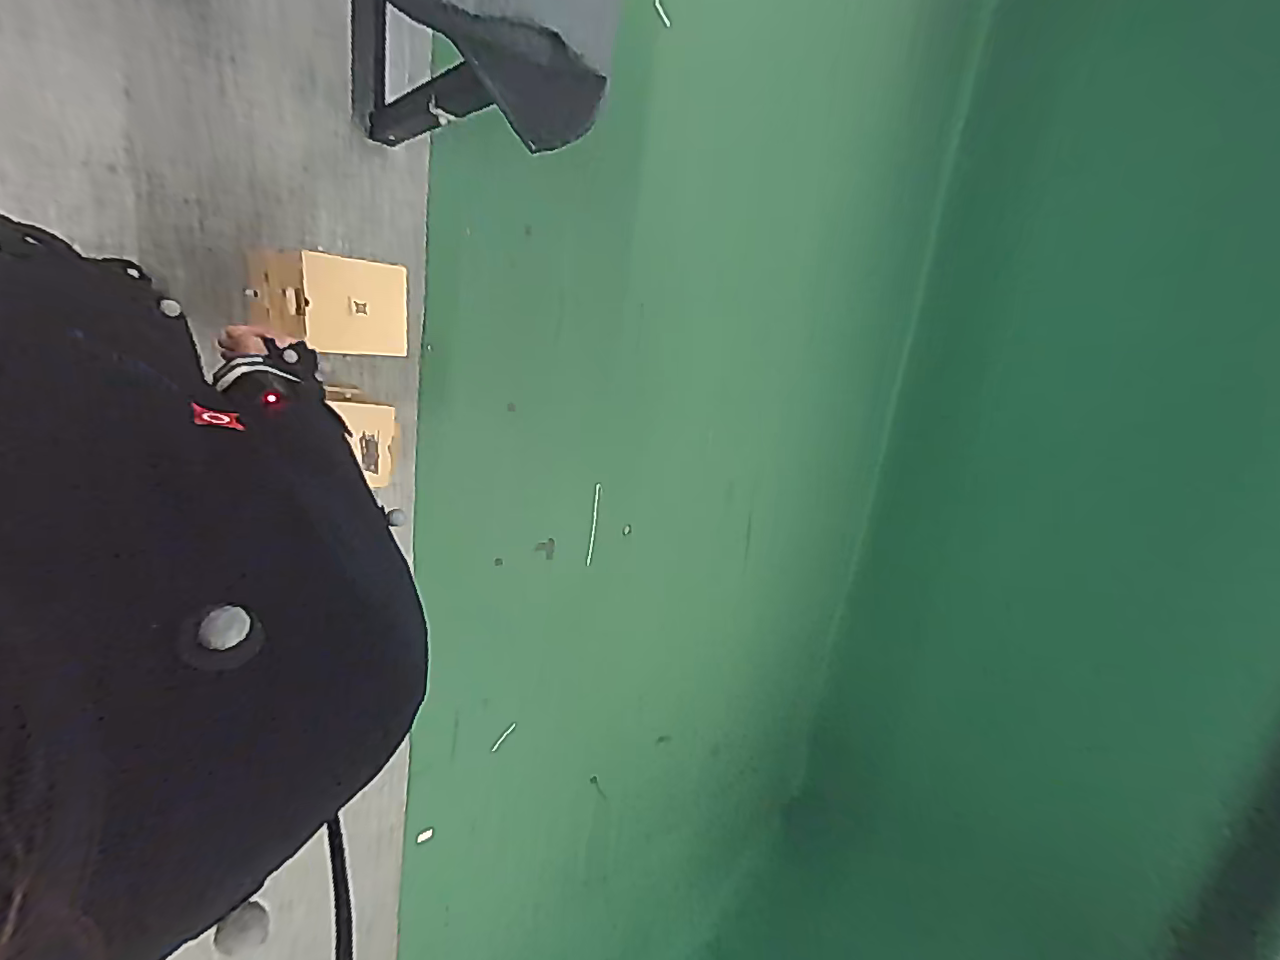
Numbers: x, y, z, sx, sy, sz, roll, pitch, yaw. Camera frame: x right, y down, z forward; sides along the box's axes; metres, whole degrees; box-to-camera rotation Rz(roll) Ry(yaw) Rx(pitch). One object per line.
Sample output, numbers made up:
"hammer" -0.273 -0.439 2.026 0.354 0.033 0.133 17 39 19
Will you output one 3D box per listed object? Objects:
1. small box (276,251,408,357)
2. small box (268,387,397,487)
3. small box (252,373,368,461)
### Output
"small box" -0.557 -0.328 1.014 0.179 0.176 0.168 -9 112 -44
"small box" -0.604 -0.085 1.060 0.179 0.176 0.168 0 104 -45
"small box" -0.716 -0.134 1.170 0.179 0.176 0.168 0 104 -44
